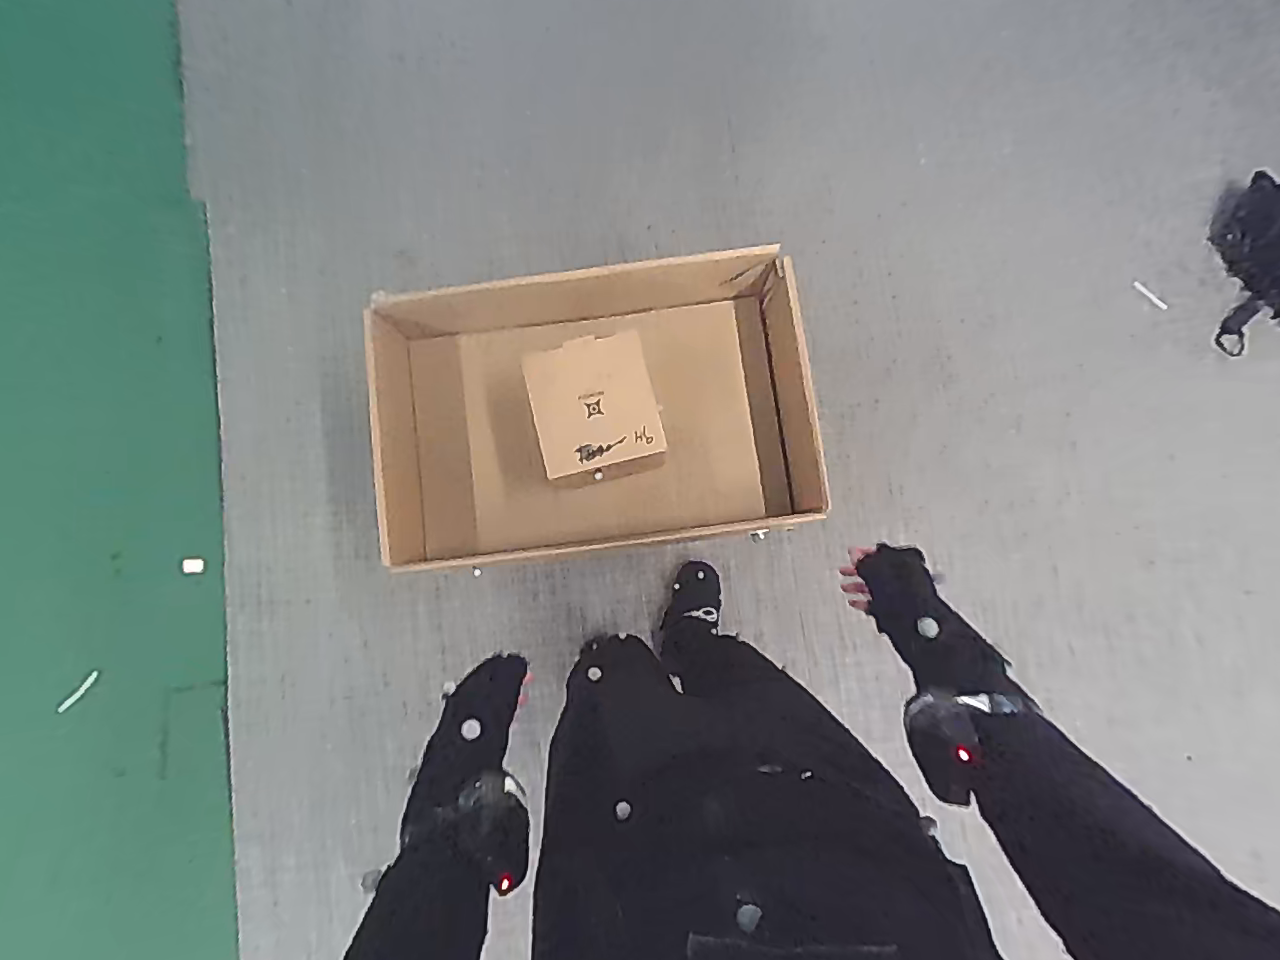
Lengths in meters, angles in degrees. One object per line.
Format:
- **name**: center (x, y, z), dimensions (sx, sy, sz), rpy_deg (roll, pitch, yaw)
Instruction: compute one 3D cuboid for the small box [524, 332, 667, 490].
- **small box**: center (-0.061, -0.093, 0.809), dimensions (0.168, 0.176, 0.179), rpy_deg (-14, 83, 1)
